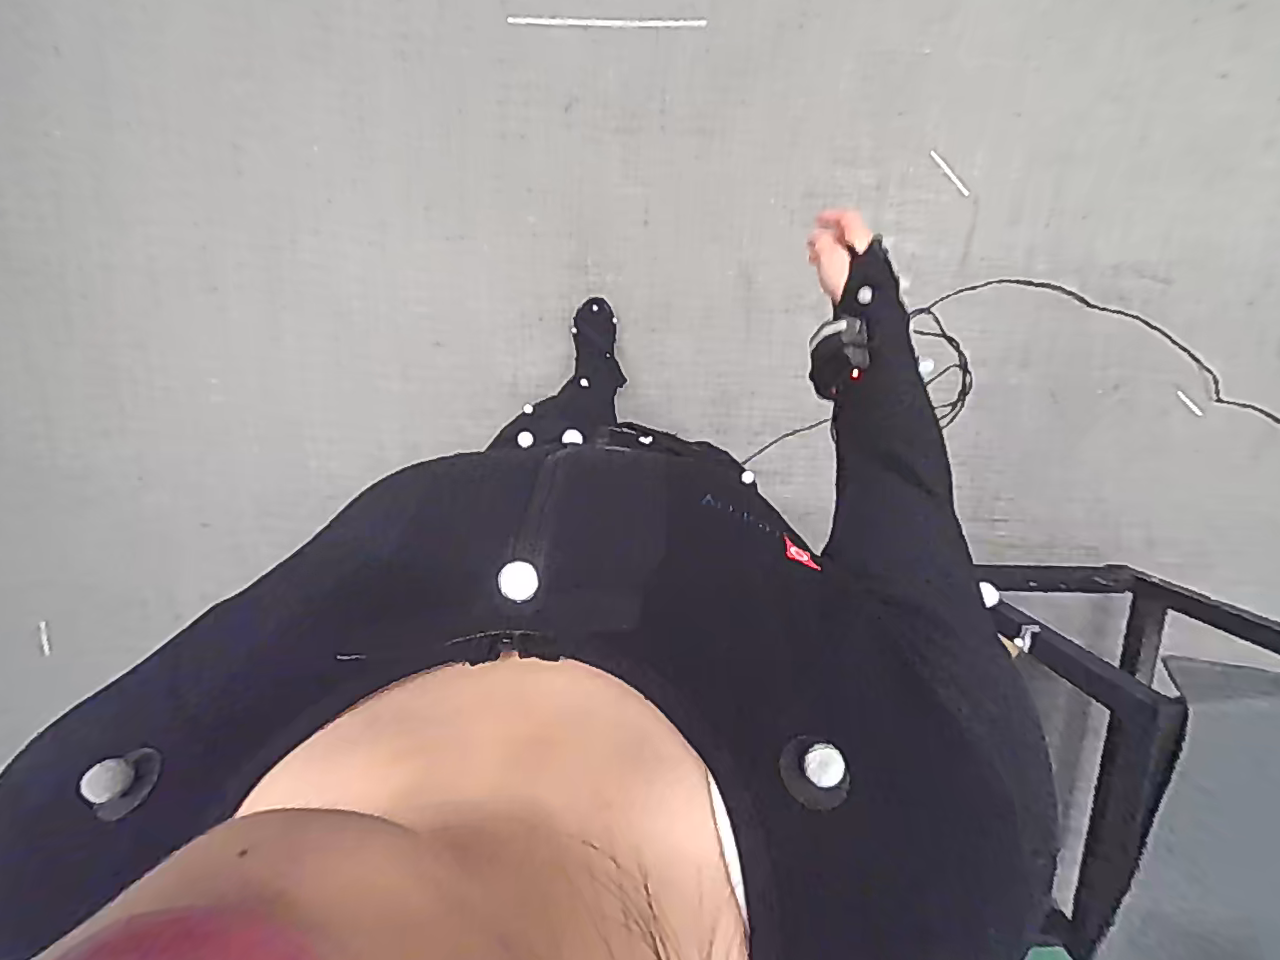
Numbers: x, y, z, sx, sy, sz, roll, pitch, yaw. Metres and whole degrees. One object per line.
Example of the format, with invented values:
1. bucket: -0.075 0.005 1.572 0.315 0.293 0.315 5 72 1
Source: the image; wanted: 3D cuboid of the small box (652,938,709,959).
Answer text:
1. small box: 0.146 1.571 1.653 0.168 0.176 0.179 -34 97 6
